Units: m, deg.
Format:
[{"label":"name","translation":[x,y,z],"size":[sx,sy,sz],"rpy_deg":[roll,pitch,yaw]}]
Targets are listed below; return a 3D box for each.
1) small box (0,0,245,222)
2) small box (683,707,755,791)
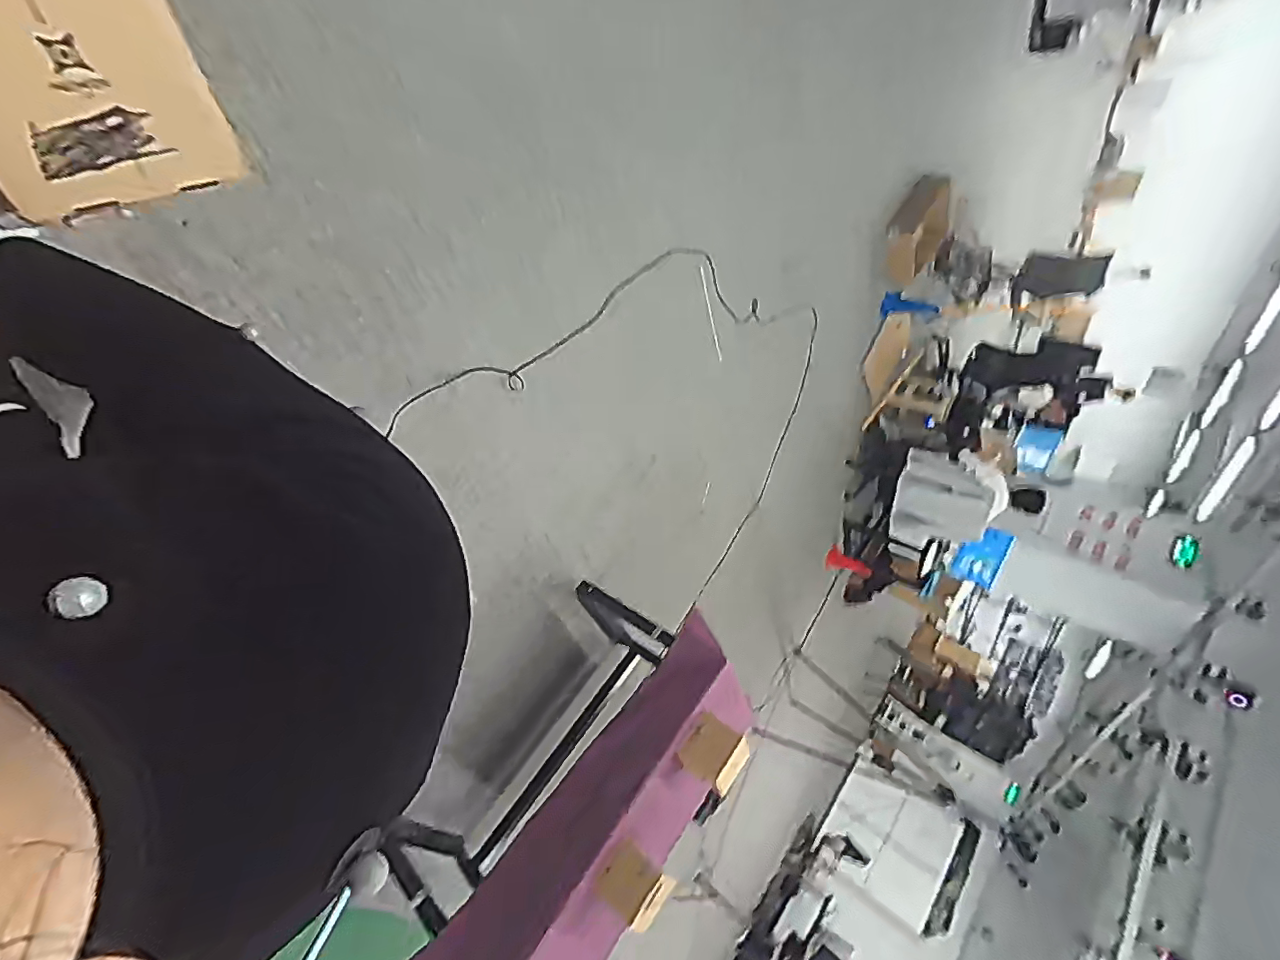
[{"label":"small box","translation":[-0.482,-0.329,0.451],"size":[0.168,0.176,0.179],"rpy_deg":[-39,132,-32]},{"label":"small box","translation":[0.270,0.908,1.839],"size":[0.168,0.176,0.179],"rpy_deg":[-46,138,-26]}]
